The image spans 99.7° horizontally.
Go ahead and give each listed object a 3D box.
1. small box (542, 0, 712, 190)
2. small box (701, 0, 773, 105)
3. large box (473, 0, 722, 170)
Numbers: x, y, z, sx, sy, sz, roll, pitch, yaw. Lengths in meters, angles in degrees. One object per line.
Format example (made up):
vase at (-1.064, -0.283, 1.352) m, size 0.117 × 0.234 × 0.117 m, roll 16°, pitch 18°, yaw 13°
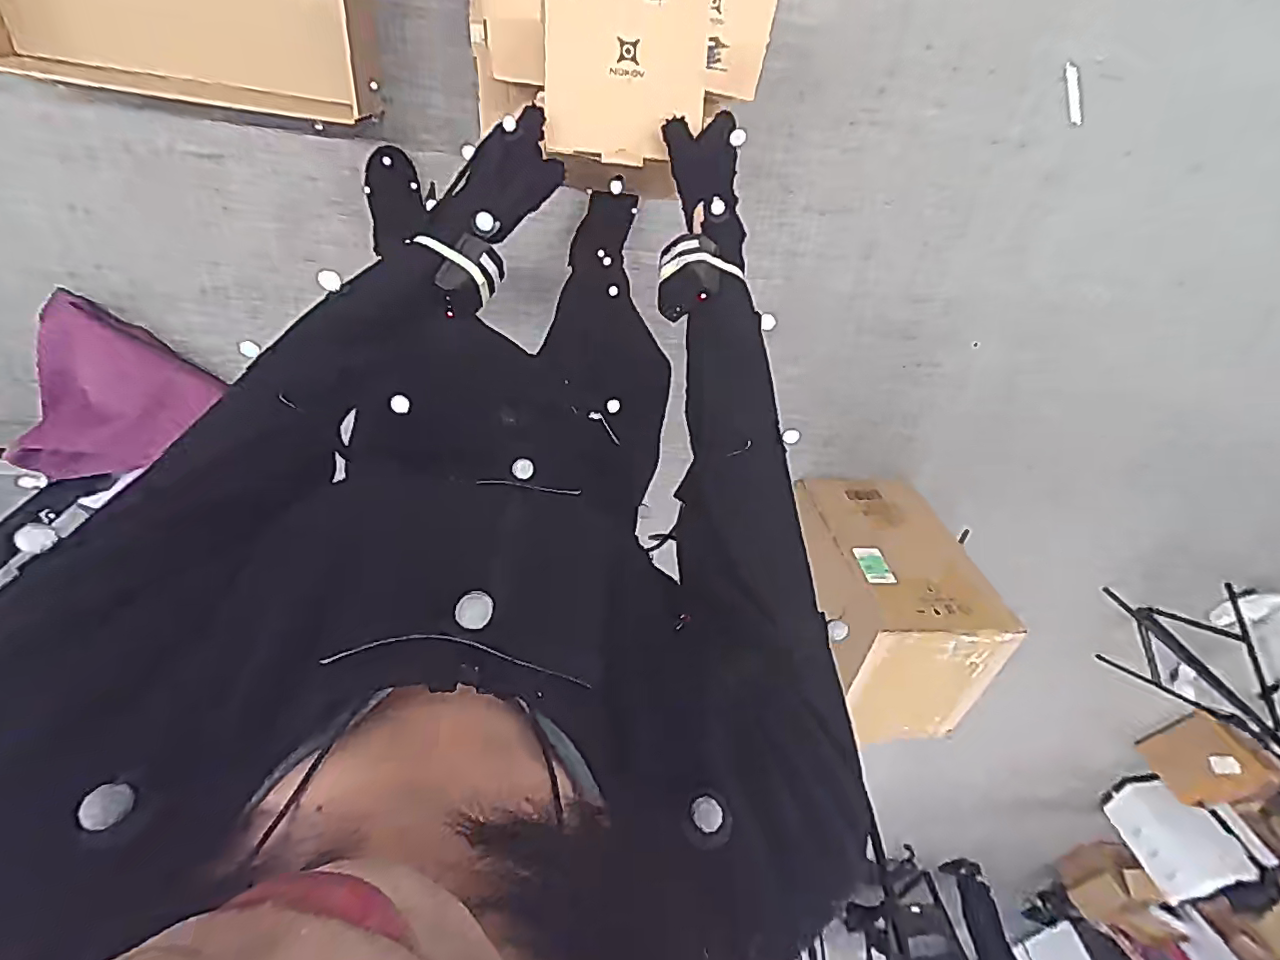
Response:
small box at (-0.021, -0.449, 0.622) m, size 0.168 × 0.176 × 0.179 m, roll 2°, pitch 107°, yaw -7°
small box at (0.080, -0.652, 0.761) m, size 0.168 × 0.176 × 0.179 m, roll 5°, pitch 125°, yaw -11°
large box at (-0.072, -0.763, 0.964) m, size 0.408 × 0.320 × 0.320 m, roll 1°, pitch 127°, yaw -9°
